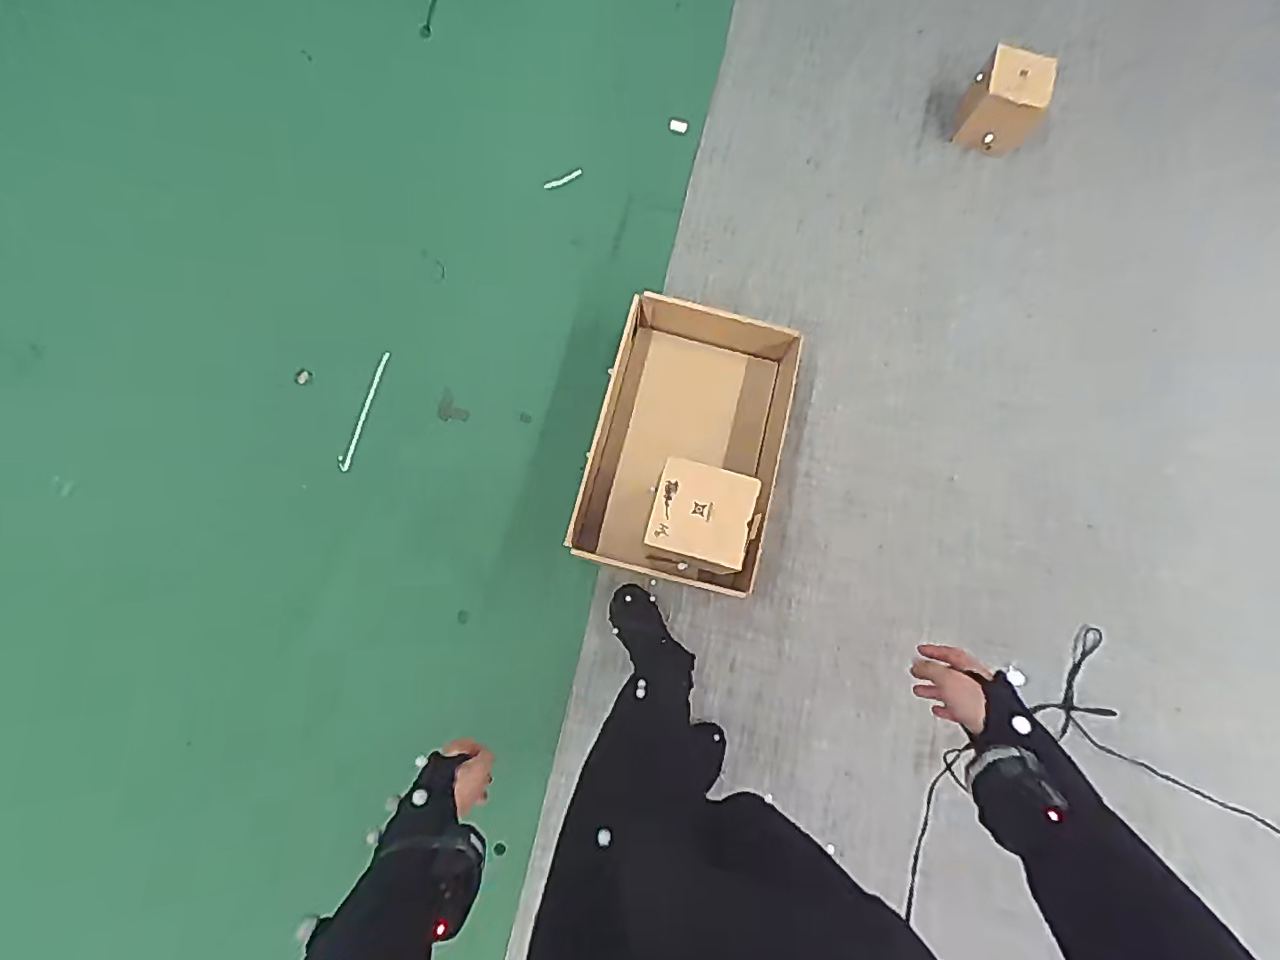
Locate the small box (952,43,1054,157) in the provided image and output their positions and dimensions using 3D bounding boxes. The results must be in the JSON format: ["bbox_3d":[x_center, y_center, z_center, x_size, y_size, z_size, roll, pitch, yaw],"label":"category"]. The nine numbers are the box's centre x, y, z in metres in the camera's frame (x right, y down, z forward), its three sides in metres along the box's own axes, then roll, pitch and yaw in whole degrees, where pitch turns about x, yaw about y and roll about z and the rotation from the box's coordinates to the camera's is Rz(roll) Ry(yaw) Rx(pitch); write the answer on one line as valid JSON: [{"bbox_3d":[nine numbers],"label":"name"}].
[{"bbox_3d":[1.011,-1.061,1.519,0.168,0.176,0.179,18,78,2],"label":"small box"}]

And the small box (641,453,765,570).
[{"bbox_3d":[0.110,0.066,1.011,0.179,0.176,0.168,16,78,0],"label":"small box"}]
